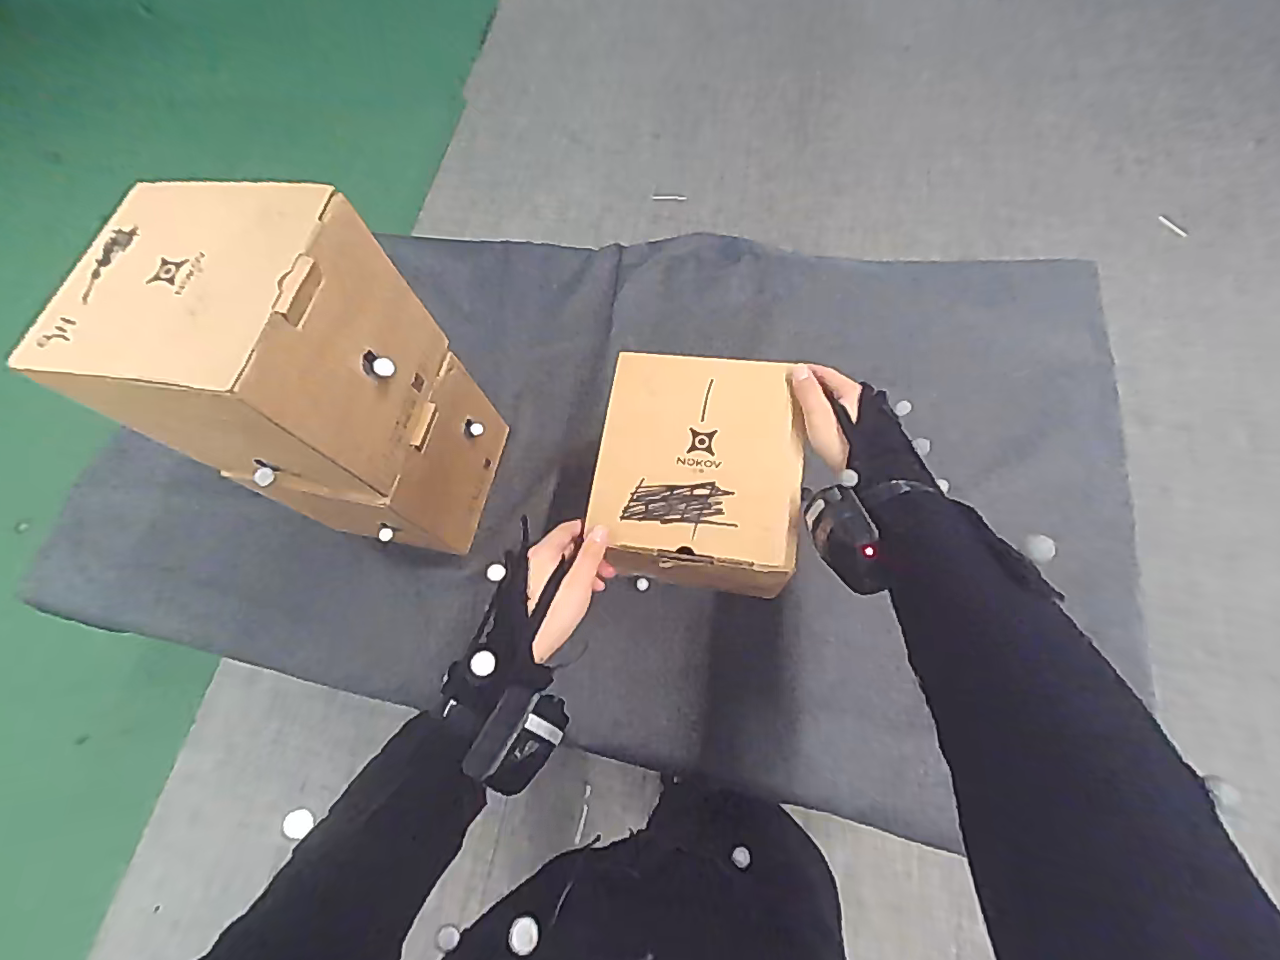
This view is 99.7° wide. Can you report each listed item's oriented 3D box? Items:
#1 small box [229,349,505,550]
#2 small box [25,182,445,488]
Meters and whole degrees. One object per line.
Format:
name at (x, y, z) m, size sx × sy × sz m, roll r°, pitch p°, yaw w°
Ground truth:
small box at (-0.268, -0.033, 0.581) m, size 0.179 × 0.176 × 0.168 m, roll 8°, pitch 67°, yaw 12°
small box at (-0.287, -0.104, 0.434) m, size 0.179 × 0.176 × 0.168 m, roll 8°, pitch 68°, yaw 10°
